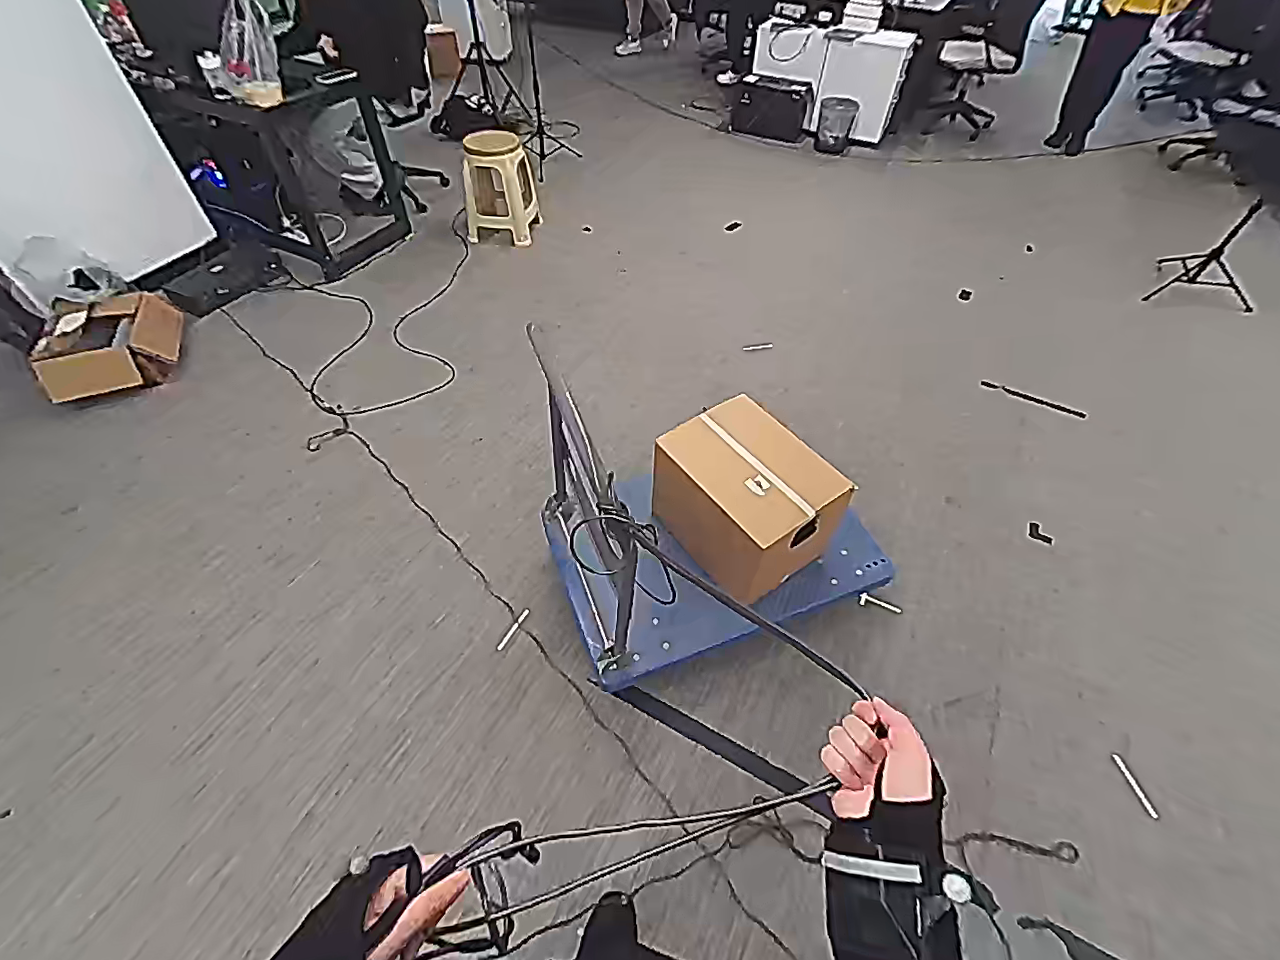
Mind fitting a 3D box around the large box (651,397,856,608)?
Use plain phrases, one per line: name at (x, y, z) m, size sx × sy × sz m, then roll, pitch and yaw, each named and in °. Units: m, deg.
large box at (0.273, 0.055, 1.444) m, size 0.320 × 0.320 × 0.408 m, roll -29°, pitch 58°, yaw -22°
